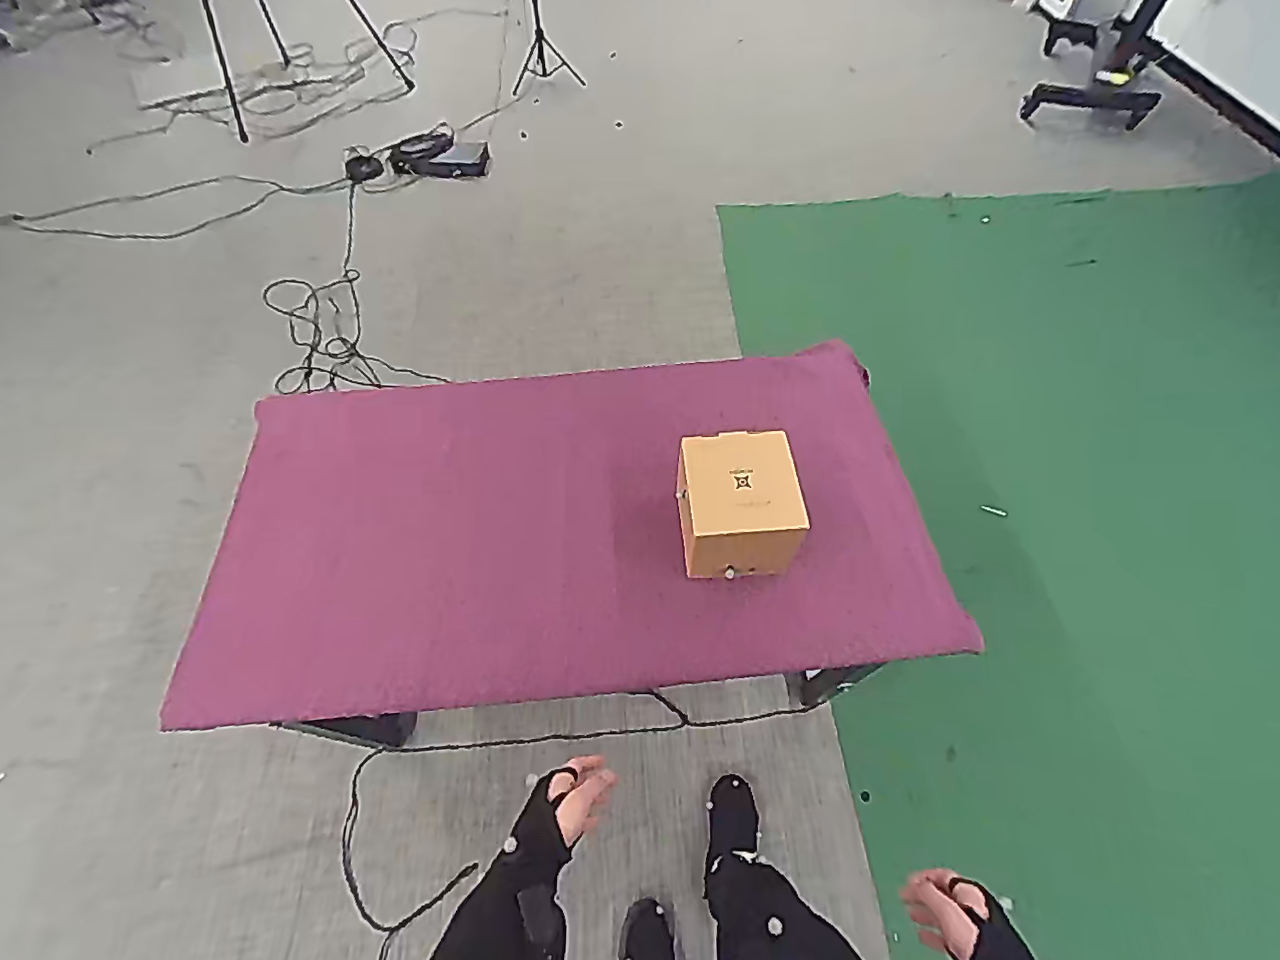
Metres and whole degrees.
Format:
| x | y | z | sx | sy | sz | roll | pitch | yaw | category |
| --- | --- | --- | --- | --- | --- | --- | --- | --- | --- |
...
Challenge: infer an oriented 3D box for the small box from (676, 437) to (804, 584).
| x | y | z | sx | sy | sz | roll | pitch | yaw | category |
| --- | --- | --- | --- | --- | --- | --- | --- | --- | --- |
| 0.148 | 0.052 | 0.869 | 0.168 | 0.176 | 0.179 | -4 | 57 | 0 | small box |
